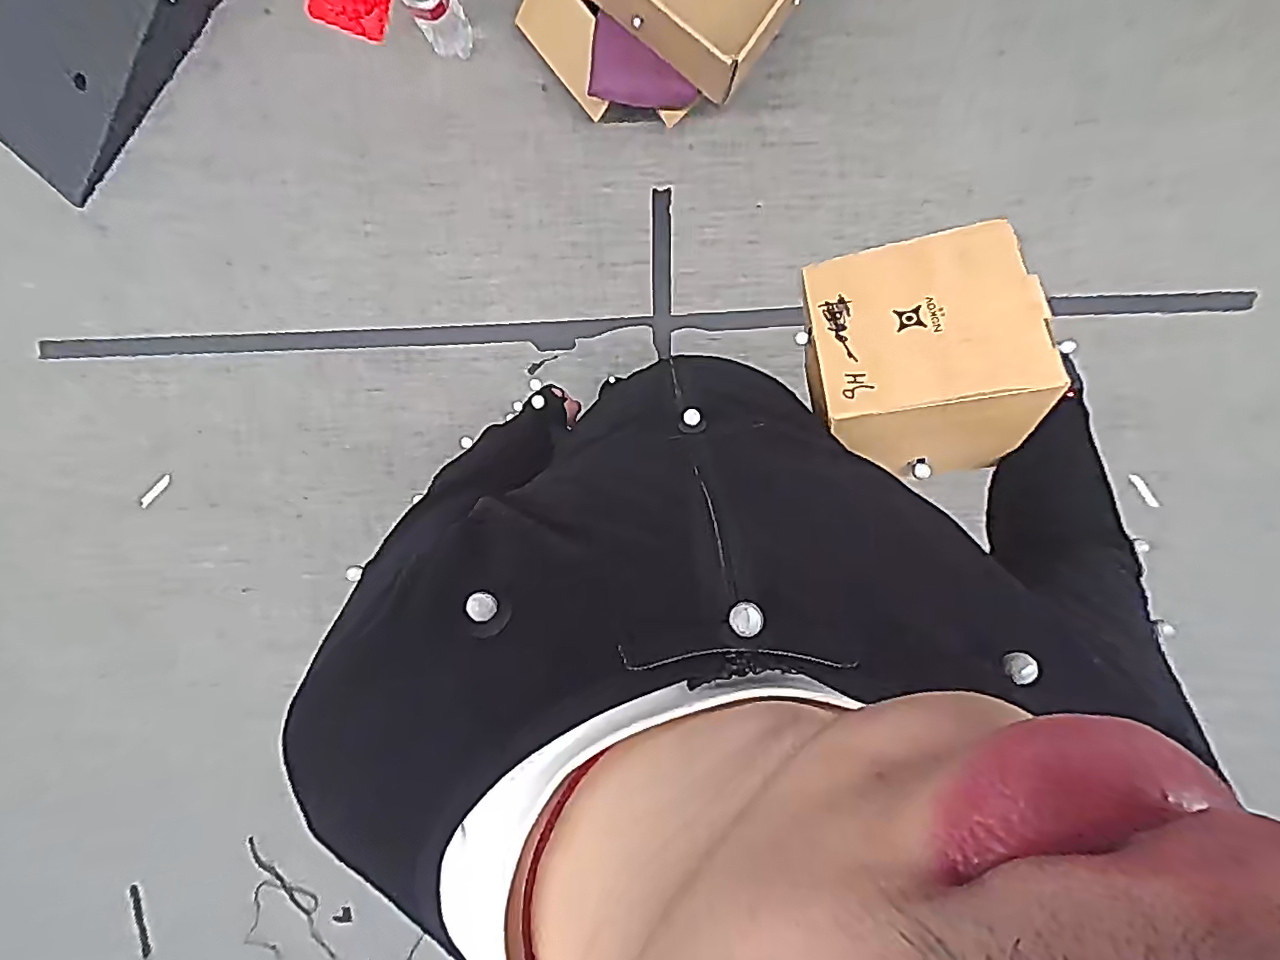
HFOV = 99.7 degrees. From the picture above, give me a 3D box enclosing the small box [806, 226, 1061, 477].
[{"bbox_3d":[0.267,-0.113,0.543,0.179,0.176,0.168,-8,67,14],"label":"small box"}]
